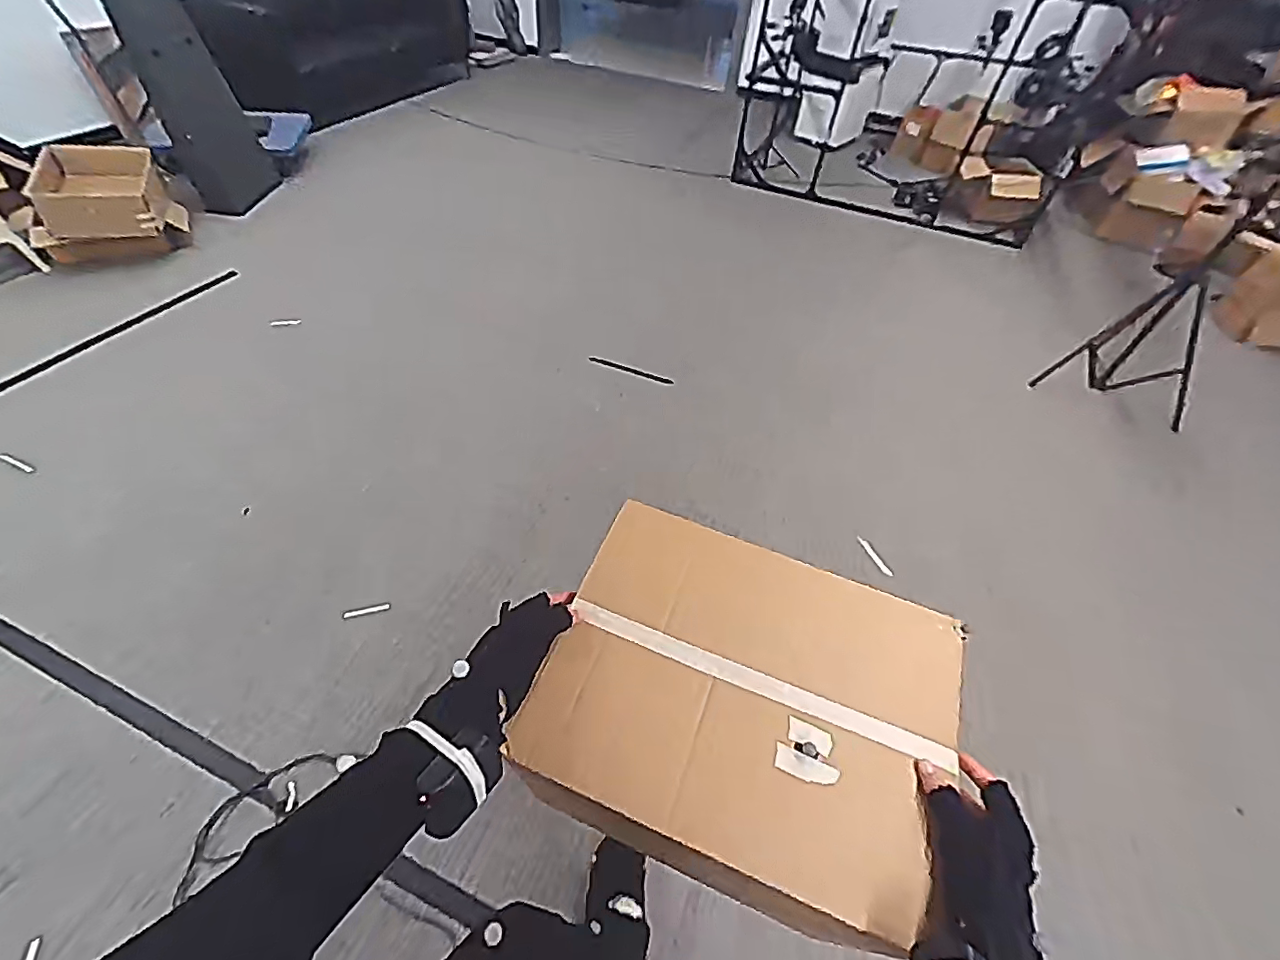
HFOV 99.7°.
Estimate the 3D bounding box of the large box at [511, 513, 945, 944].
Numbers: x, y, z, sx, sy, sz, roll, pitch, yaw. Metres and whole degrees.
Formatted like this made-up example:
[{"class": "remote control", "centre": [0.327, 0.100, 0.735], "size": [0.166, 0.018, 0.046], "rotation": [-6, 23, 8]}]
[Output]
[{"class": "large box", "centre": [0.101, 0.302, 0.687], "size": [0.408, 0.320, 0.320], "rotation": [20, 55, 10]}]
